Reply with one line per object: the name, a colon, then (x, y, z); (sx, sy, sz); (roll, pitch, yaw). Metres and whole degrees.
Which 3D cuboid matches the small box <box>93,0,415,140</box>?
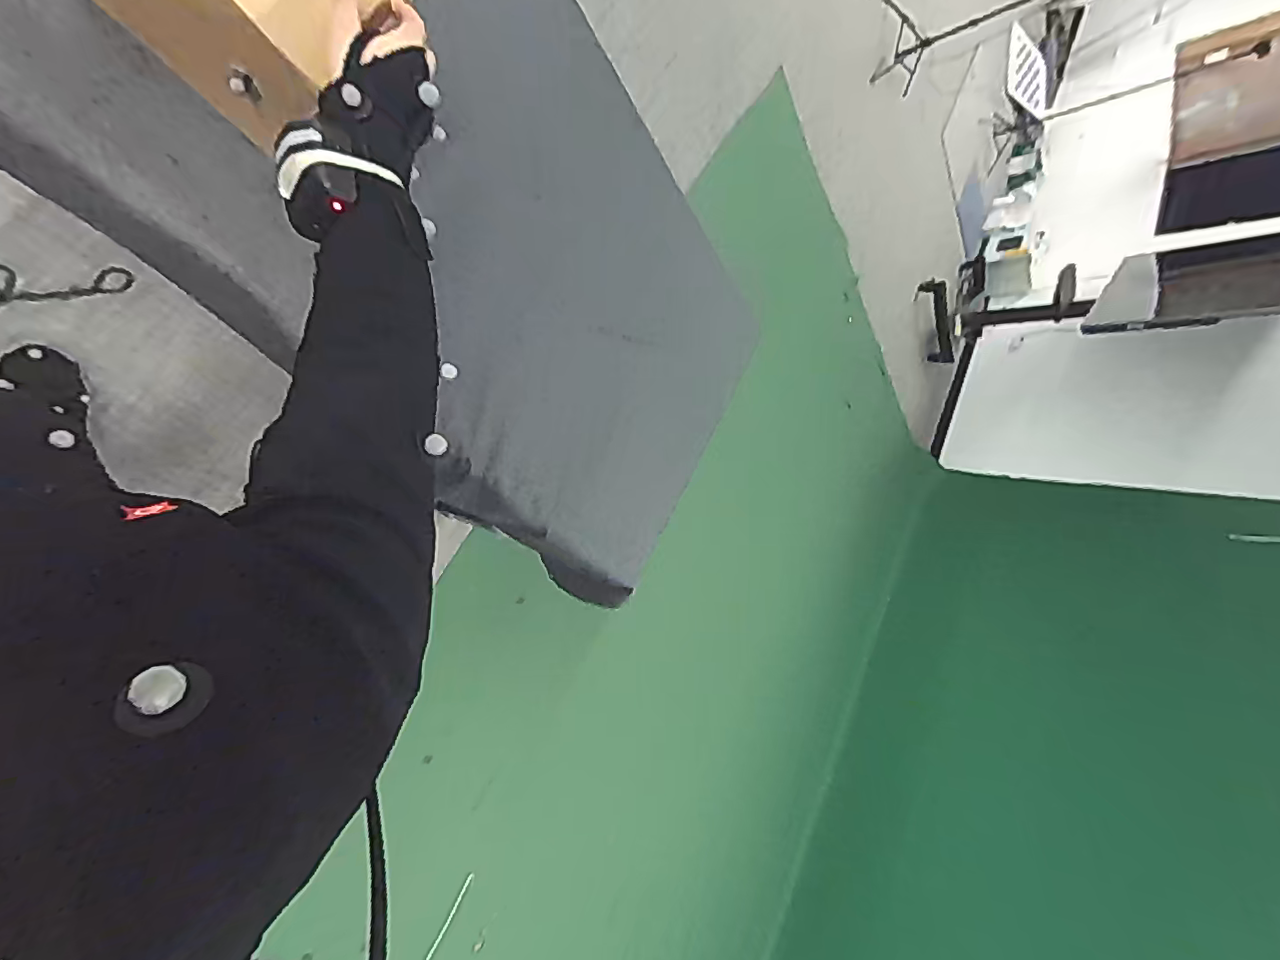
small box: (-0.326, -0.424, 0.453); (0.179, 0.176, 0.168); (41, 66, -40)
